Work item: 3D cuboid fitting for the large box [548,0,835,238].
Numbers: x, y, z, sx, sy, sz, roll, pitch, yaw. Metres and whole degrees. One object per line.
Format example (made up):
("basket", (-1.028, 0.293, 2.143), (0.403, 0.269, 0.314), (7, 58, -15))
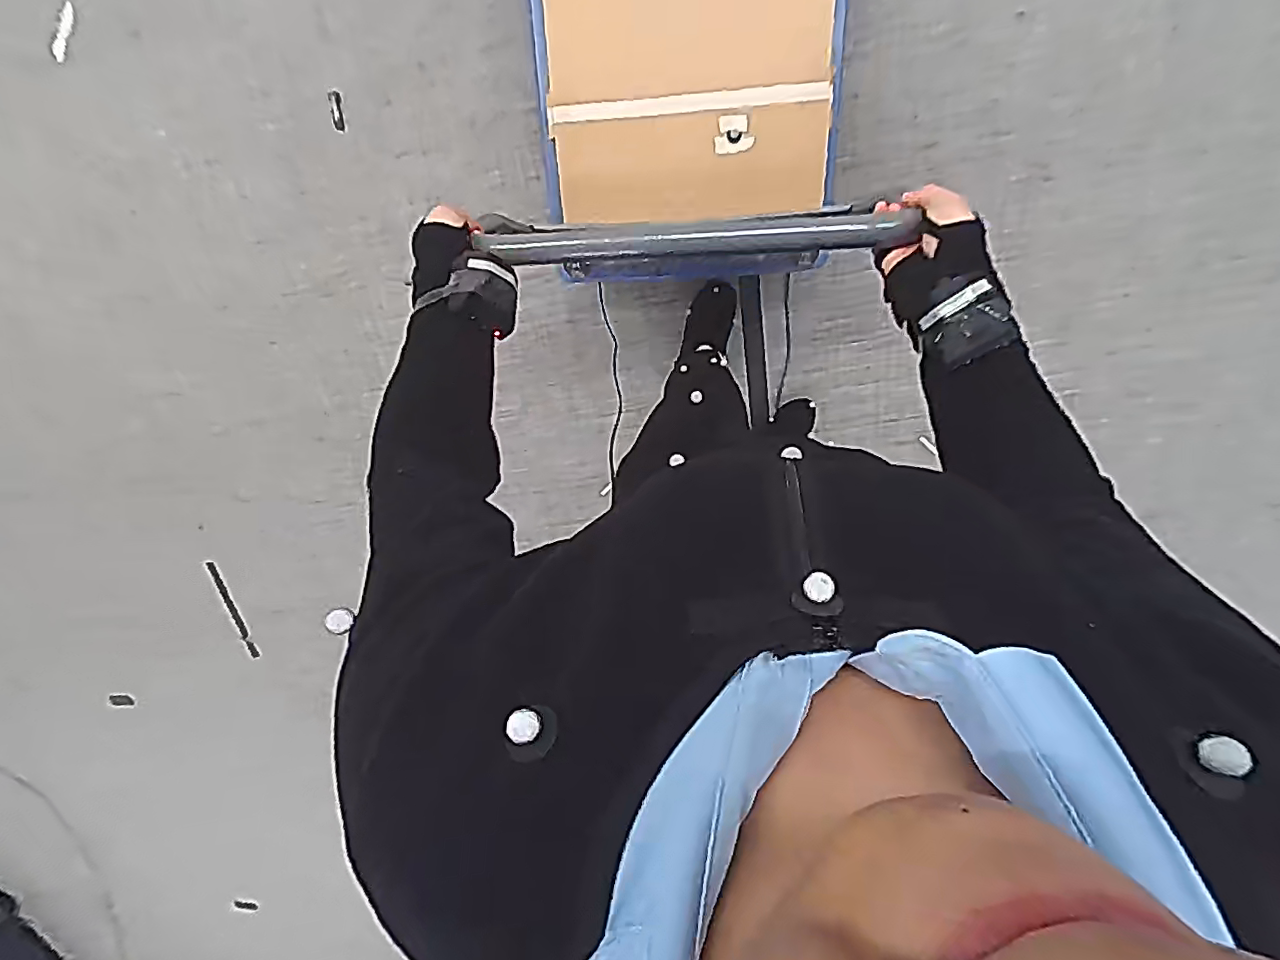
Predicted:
("large box", (0.086, -0.606, 0.933), (0.408, 0.320, 0.320), (-1, 112, 5))
